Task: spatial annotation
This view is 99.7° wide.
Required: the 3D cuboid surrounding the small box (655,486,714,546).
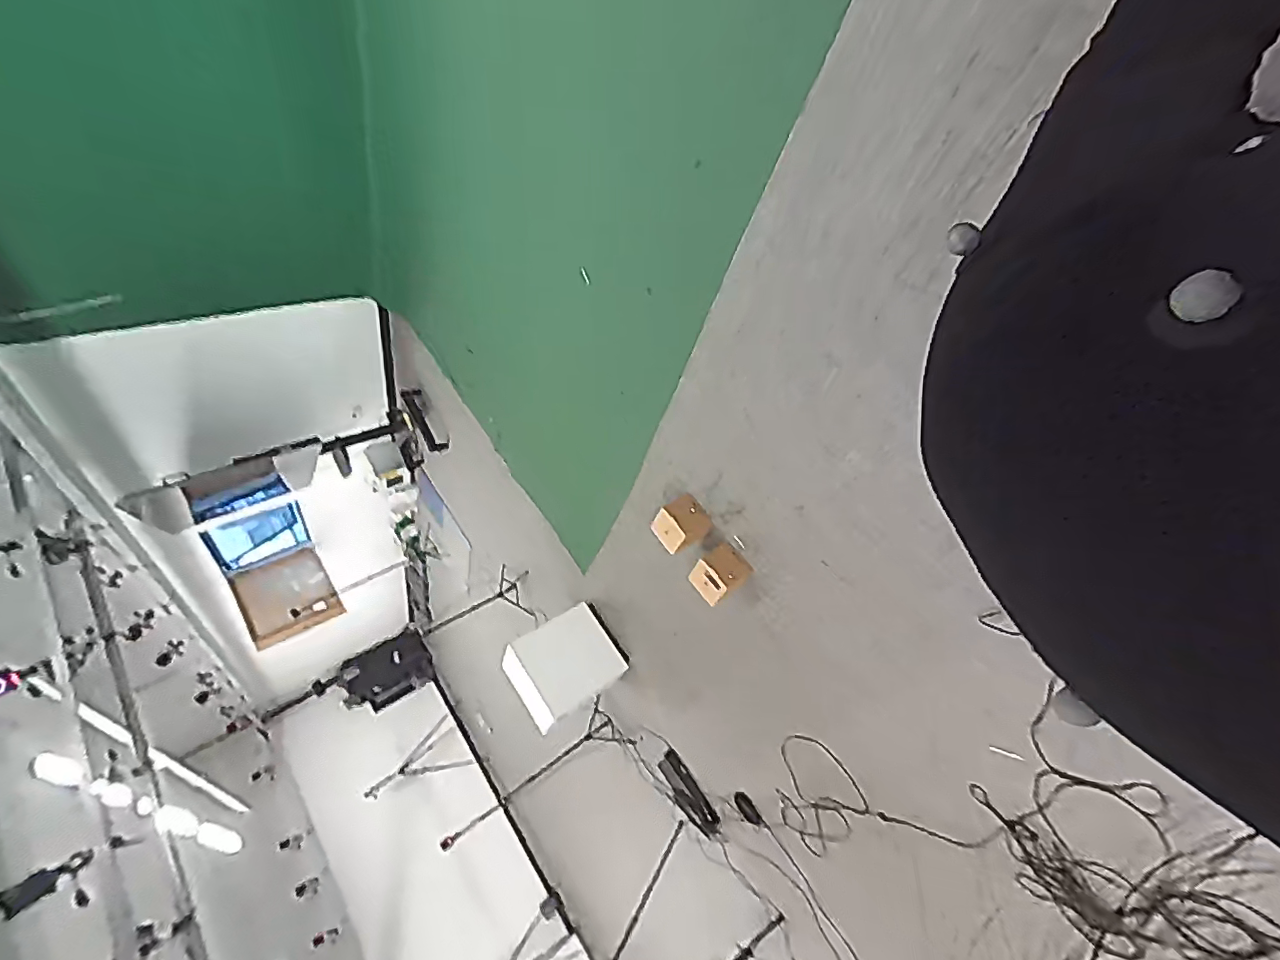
[{"bbox_3d":[0.198,0.158,2.396,0.168,0.176,0.179,51,143,20],"label":"small box"}]
